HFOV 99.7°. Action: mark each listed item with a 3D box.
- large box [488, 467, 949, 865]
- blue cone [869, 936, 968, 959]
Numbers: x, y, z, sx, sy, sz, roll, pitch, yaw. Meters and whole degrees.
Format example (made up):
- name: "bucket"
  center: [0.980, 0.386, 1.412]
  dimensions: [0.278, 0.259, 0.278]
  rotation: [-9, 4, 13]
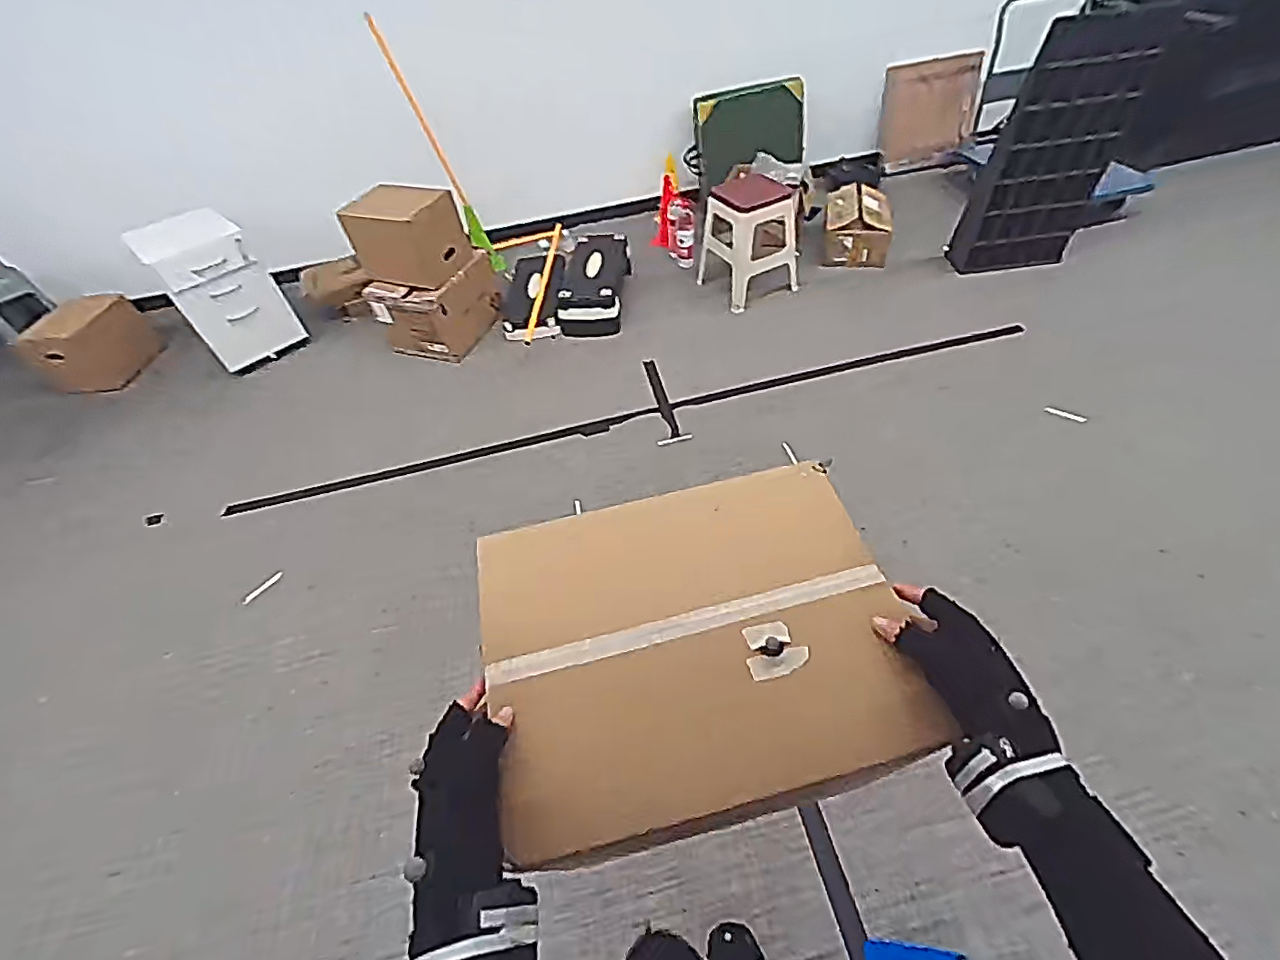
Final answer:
- name: "large box"
  center: [0.060, 0.235, 0.668]
  dimensions: [0.408, 0.320, 0.320]
  rotation: [-13, 54, -5]
- name: "blue cone"
  center: [0.528, 0.887, 0.902]
  dimensions: [0.193, 0.380, 0.192]
  rotation: [3, 49, 10]
